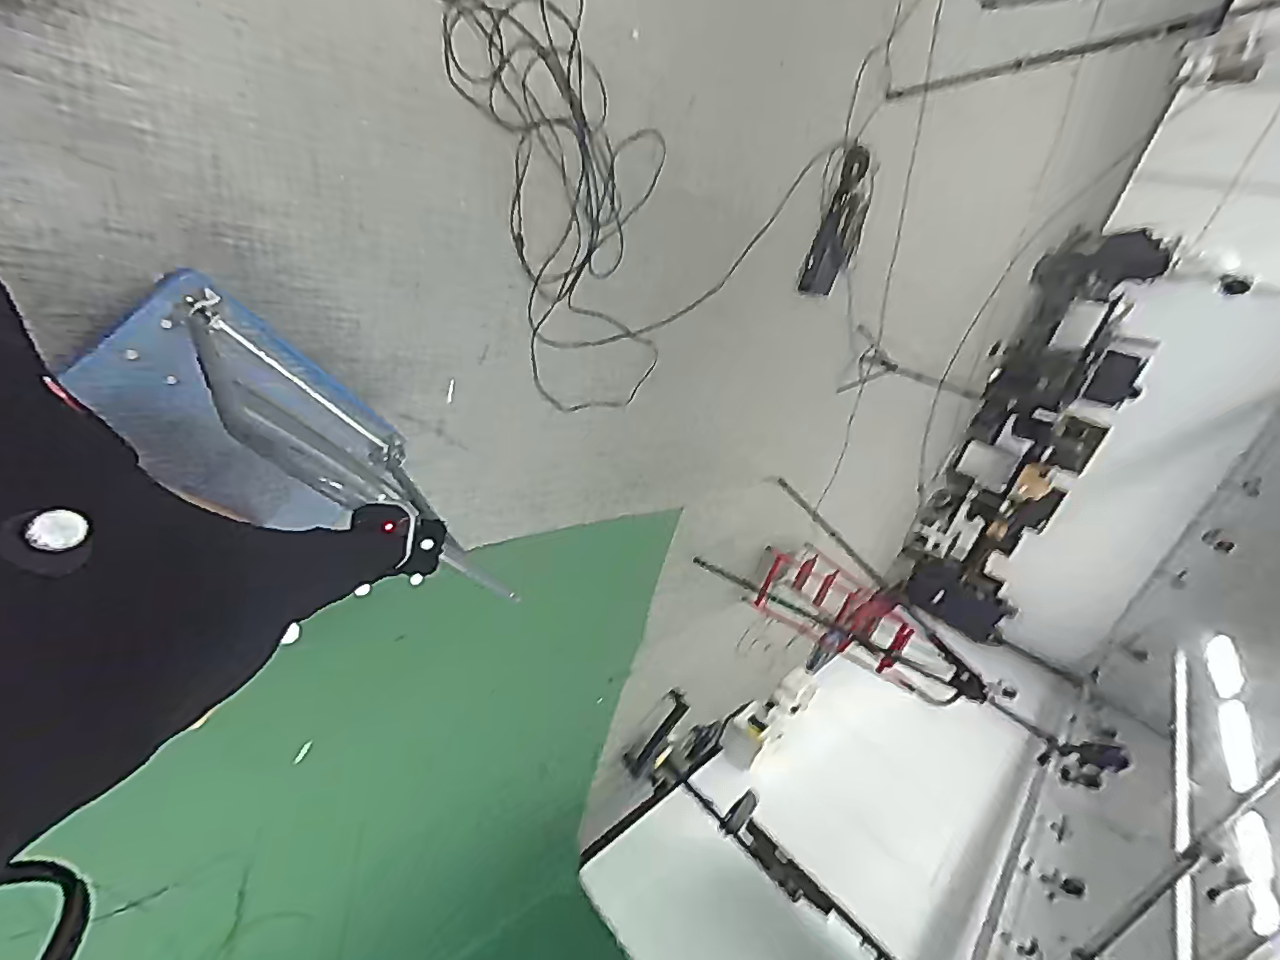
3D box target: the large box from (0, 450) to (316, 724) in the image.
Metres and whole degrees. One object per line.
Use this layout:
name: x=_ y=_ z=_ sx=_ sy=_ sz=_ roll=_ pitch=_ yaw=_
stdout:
large box: x=-0.928 y=0.207 z=0.999 sx=0.320 sy=0.320 sz=0.408 roll=-52 pitch=145 yaw=-8
